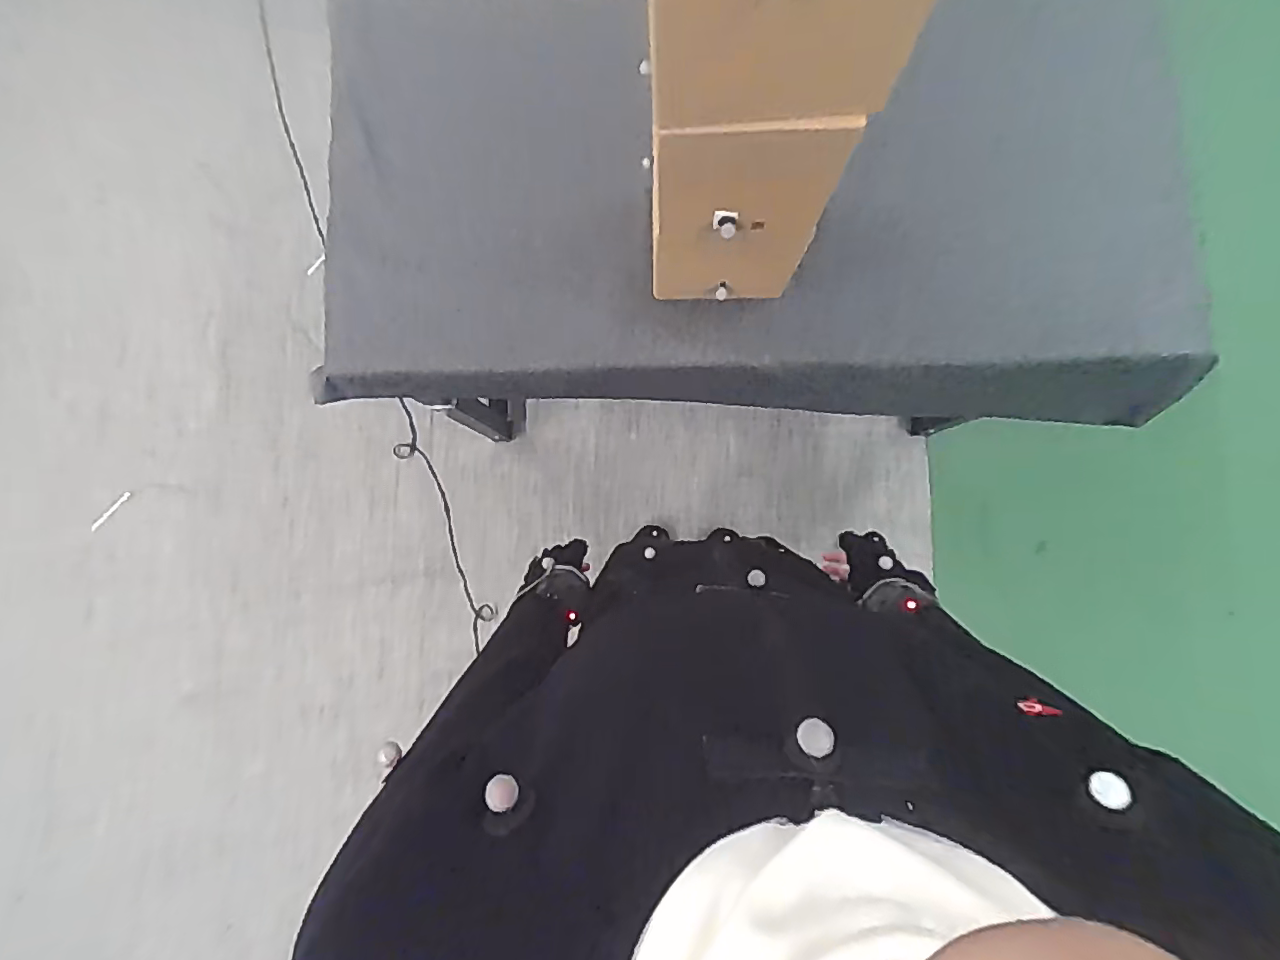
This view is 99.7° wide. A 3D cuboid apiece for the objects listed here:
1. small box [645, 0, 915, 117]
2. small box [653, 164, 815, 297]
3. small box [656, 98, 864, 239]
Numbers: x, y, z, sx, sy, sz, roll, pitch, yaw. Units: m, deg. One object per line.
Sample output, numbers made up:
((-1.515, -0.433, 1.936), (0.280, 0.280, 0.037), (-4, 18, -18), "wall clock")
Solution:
((0.088, -0.370, 0.348), (0.179, 0.176, 0.168), (-2, 85, 3), "small box")
((0.106, -0.341, 0.673), (0.179, 0.176, 0.168), (0, 85, 2), "small box")
((0.099, -0.354, 0.511), (0.168, 0.176, 0.179), (0, 86, 4), "small box")
